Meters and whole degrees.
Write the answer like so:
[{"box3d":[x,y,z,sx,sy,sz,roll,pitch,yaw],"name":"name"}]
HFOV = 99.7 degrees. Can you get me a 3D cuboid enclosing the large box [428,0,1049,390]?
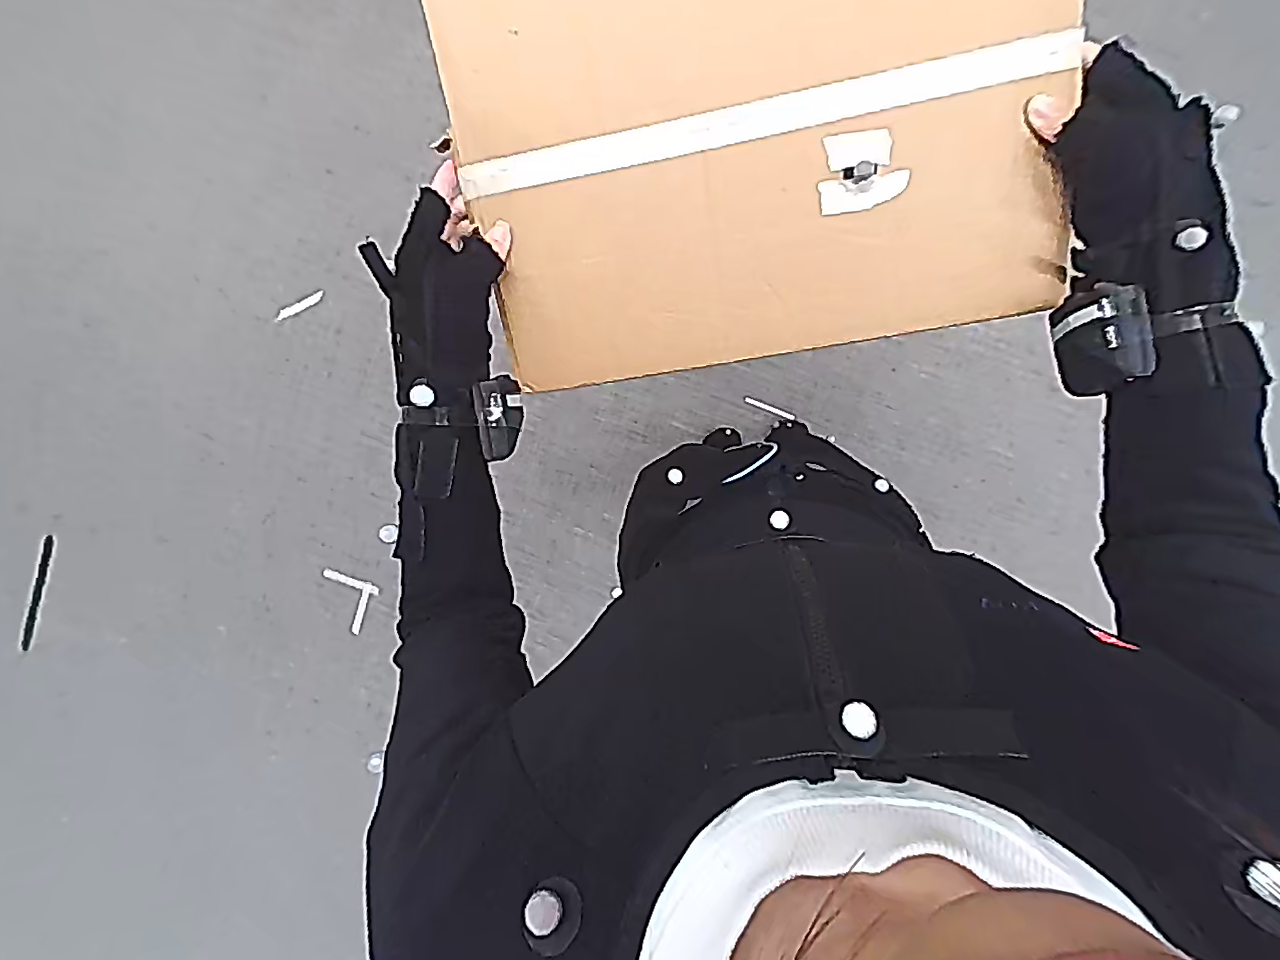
[{"box3d":[0.080,-0.296,0.520,0.408,0.320,0.320,-9,109,7],"name":"large box"}]
